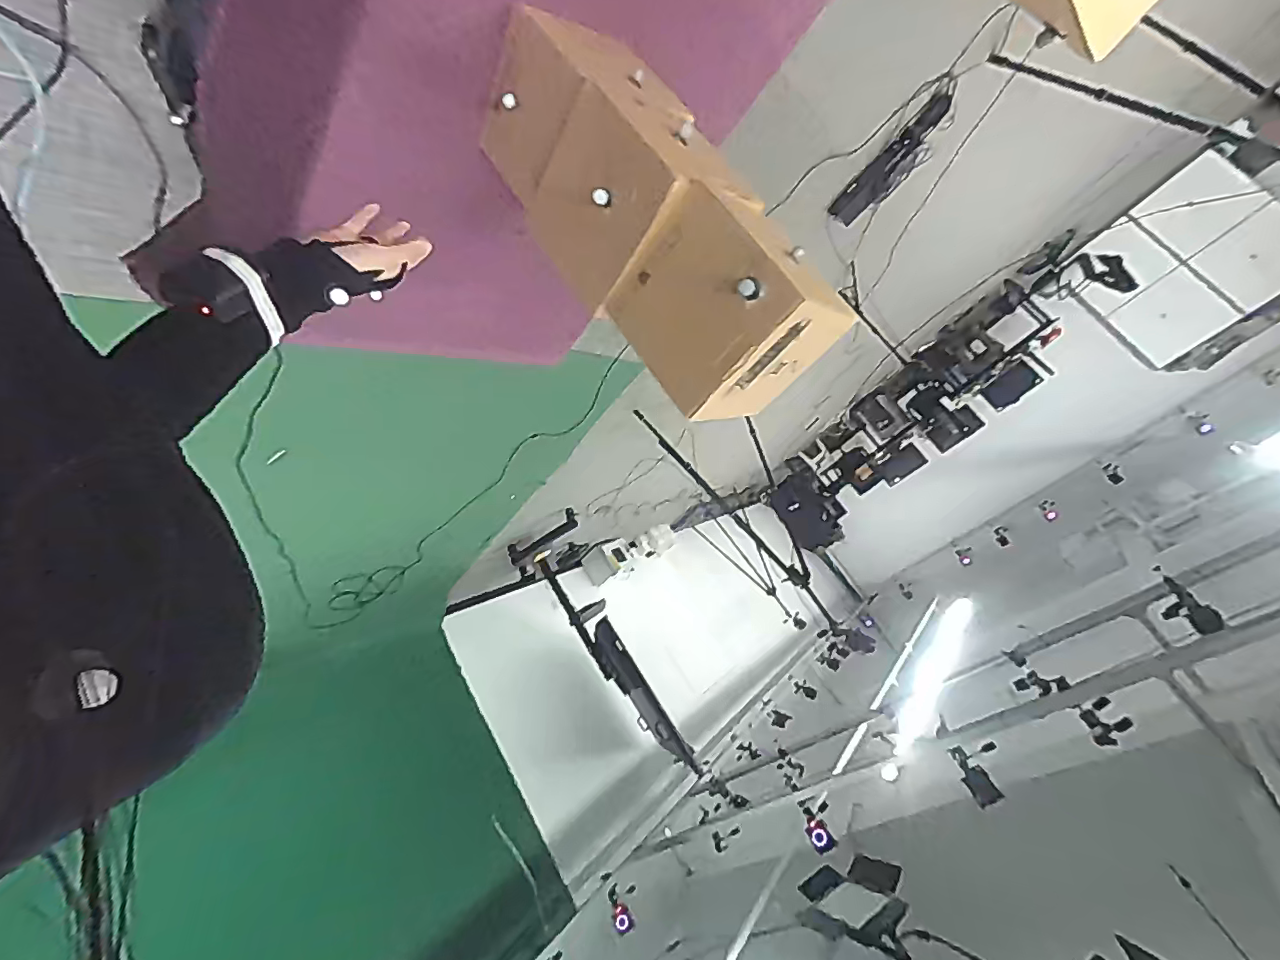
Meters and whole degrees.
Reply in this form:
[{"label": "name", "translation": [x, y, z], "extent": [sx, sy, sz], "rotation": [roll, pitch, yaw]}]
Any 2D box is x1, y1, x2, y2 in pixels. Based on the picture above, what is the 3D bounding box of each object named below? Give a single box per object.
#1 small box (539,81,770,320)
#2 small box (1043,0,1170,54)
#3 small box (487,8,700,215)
[{"label": "small box", "translation": [0.008, -0.311, 0.629], "extent": [0.168, 0.176, 0.179], "rotation": [-15, 155, -45]}, {"label": "small box", "translation": [0.293, -0.412, 0.320], "extent": [0.179, 0.176, 0.168], "rotation": [-18, 158, -42]}, {"label": "small box", "translation": [-0.064, -0.447, 0.690], "extent": [0.179, 0.176, 0.168], "rotation": [-19, 158, -41]}]
